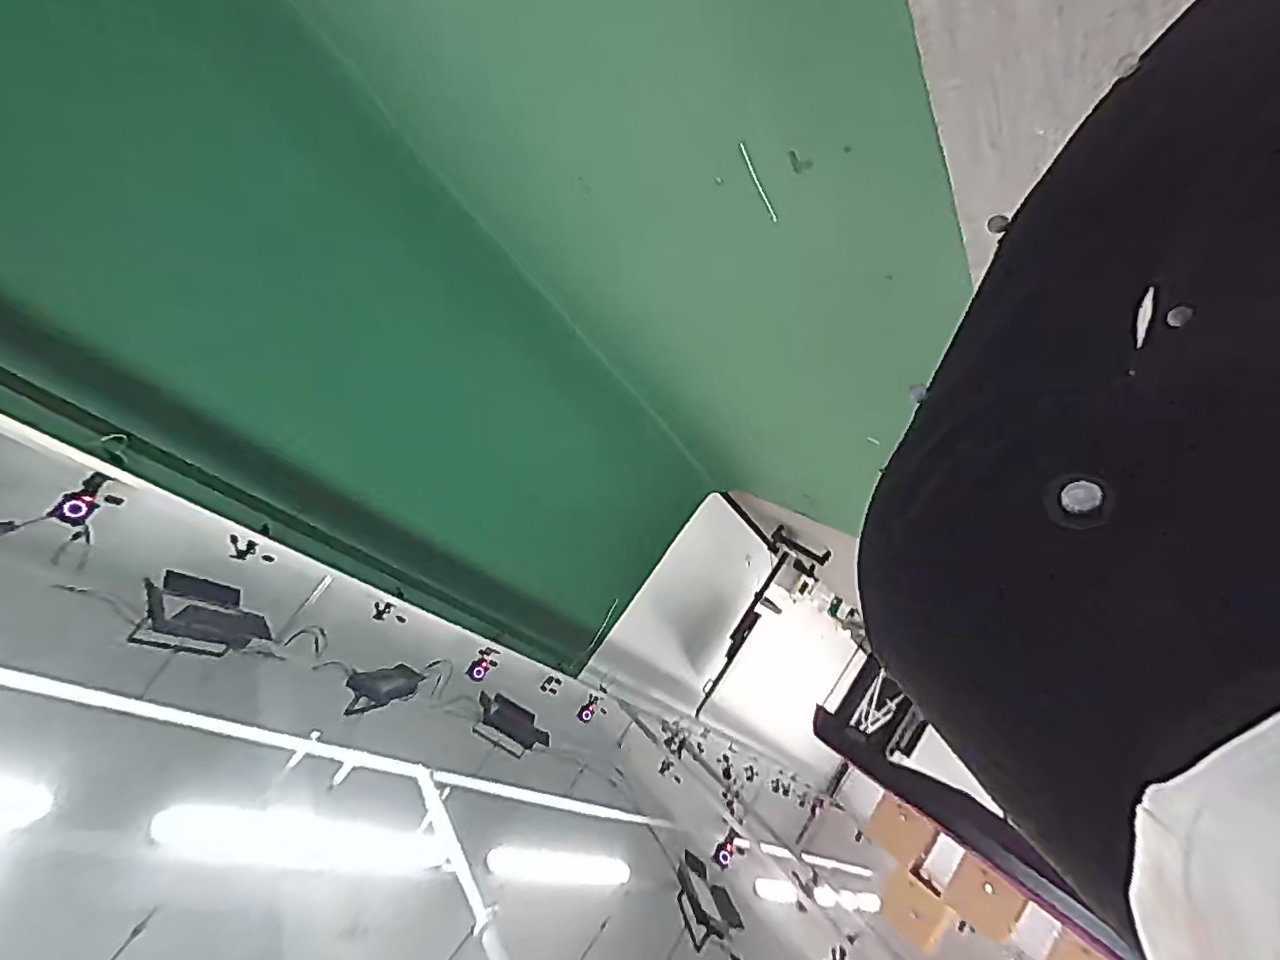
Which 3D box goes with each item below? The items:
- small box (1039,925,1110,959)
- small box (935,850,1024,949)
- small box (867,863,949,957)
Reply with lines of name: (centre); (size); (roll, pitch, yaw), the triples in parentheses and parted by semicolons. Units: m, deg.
small box: (1.177, 1.331, 1.440); (0.168, 0.176, 0.179); (25, 167, 50)
small box: (1.029, 1.261, 1.633); (0.168, 0.176, 0.179); (25, 166, 49)
small box: (0.853, 1.351, 1.709); (0.168, 0.176, 0.179); (25, 167, 48)
